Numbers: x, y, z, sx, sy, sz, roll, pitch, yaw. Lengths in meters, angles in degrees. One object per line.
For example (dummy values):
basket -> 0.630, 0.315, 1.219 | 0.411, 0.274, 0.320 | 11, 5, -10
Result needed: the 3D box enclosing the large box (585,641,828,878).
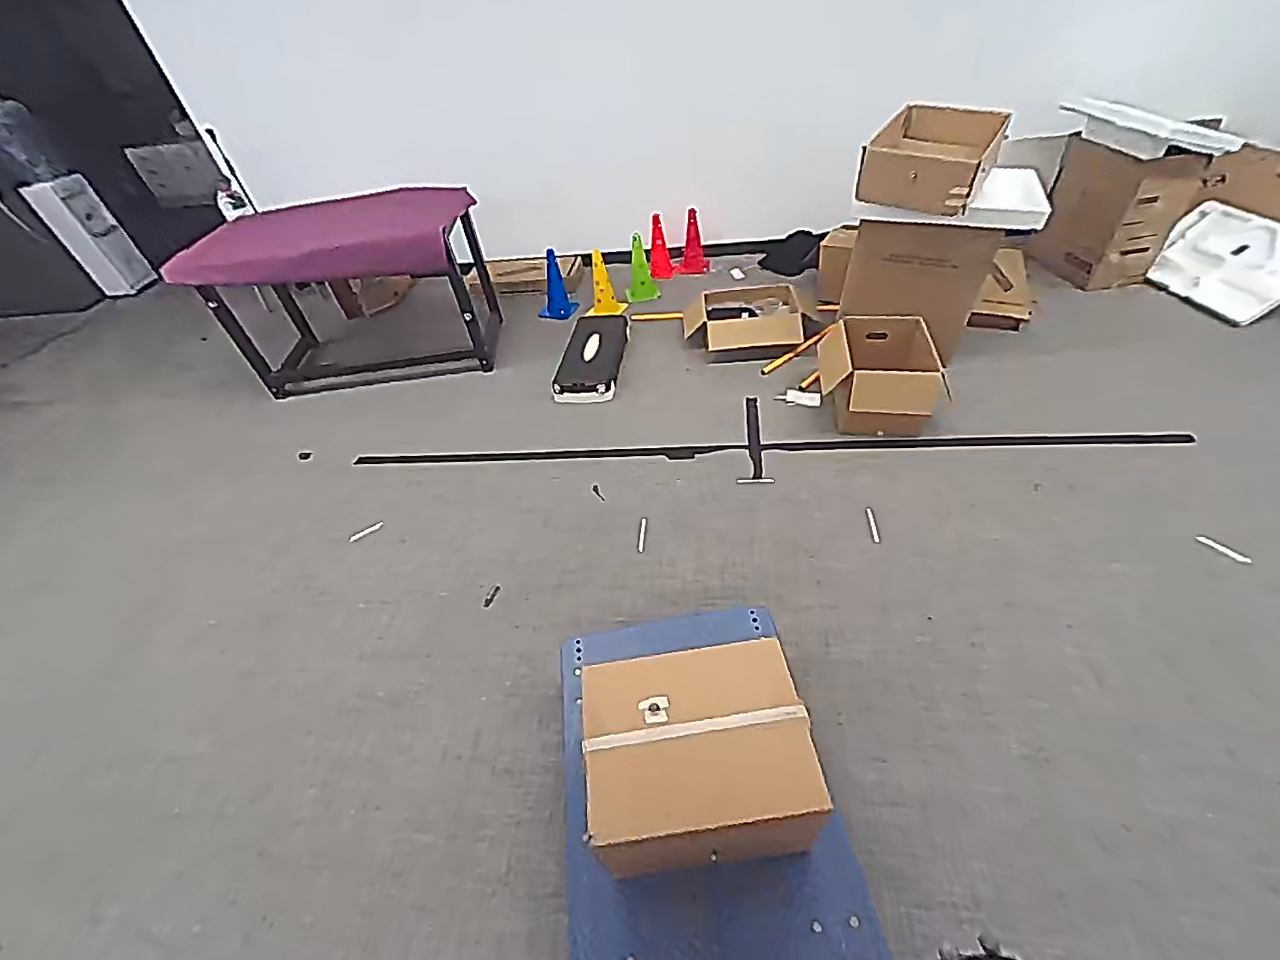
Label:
large box -> 0.120, 0.574, 1.106 | 0.408, 0.320, 0.320 | -10, 44, 0
